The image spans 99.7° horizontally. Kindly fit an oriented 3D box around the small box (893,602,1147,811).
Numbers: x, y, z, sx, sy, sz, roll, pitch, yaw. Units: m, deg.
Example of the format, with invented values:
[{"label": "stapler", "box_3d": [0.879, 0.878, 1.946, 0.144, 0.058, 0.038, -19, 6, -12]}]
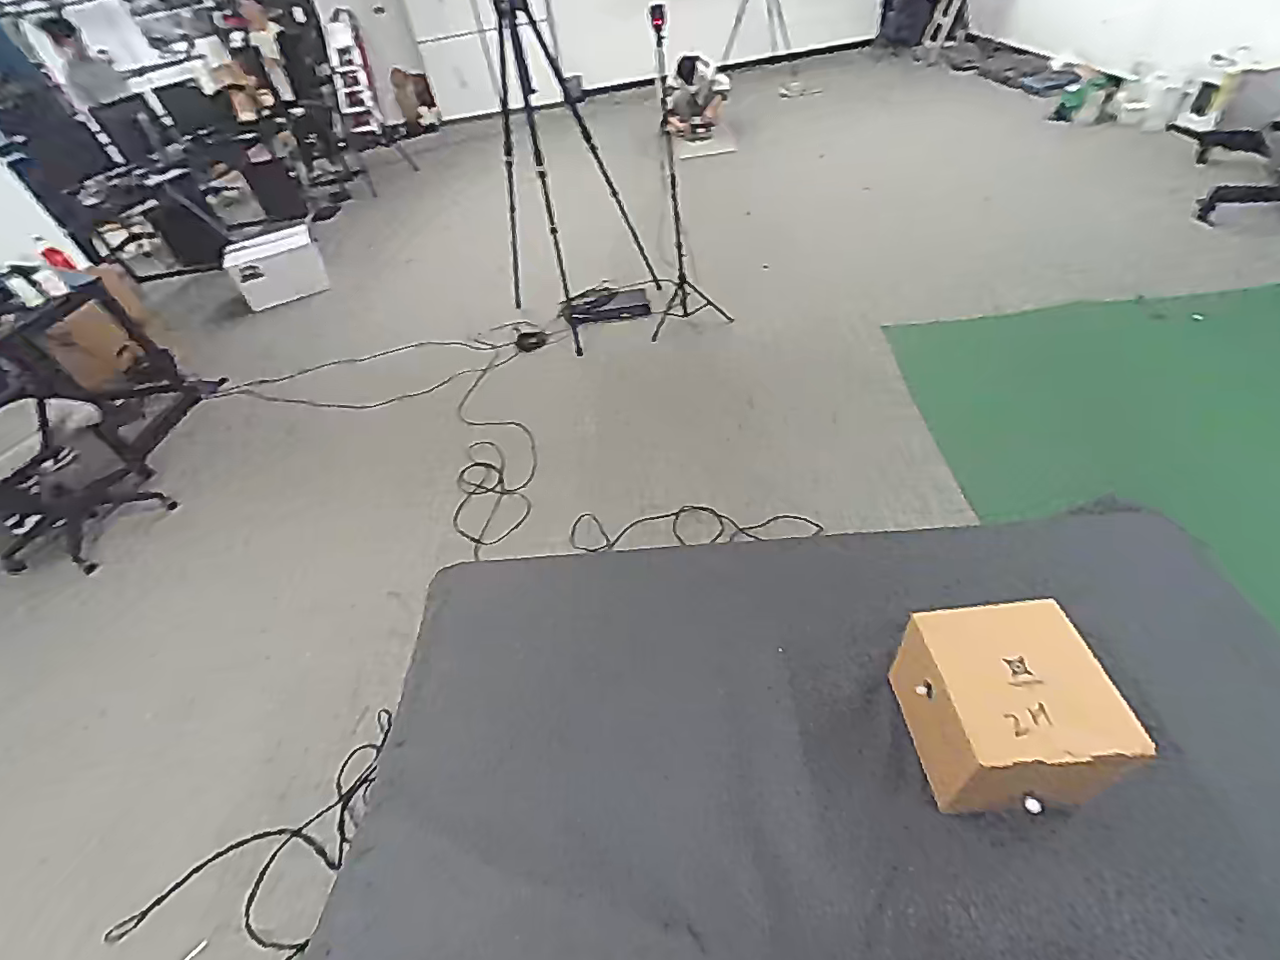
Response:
[{"label": "small box", "box_3d": [0.423, 0.271, 0.646, 0.168, 0.176, 0.179, -7, 44, 6]}]
